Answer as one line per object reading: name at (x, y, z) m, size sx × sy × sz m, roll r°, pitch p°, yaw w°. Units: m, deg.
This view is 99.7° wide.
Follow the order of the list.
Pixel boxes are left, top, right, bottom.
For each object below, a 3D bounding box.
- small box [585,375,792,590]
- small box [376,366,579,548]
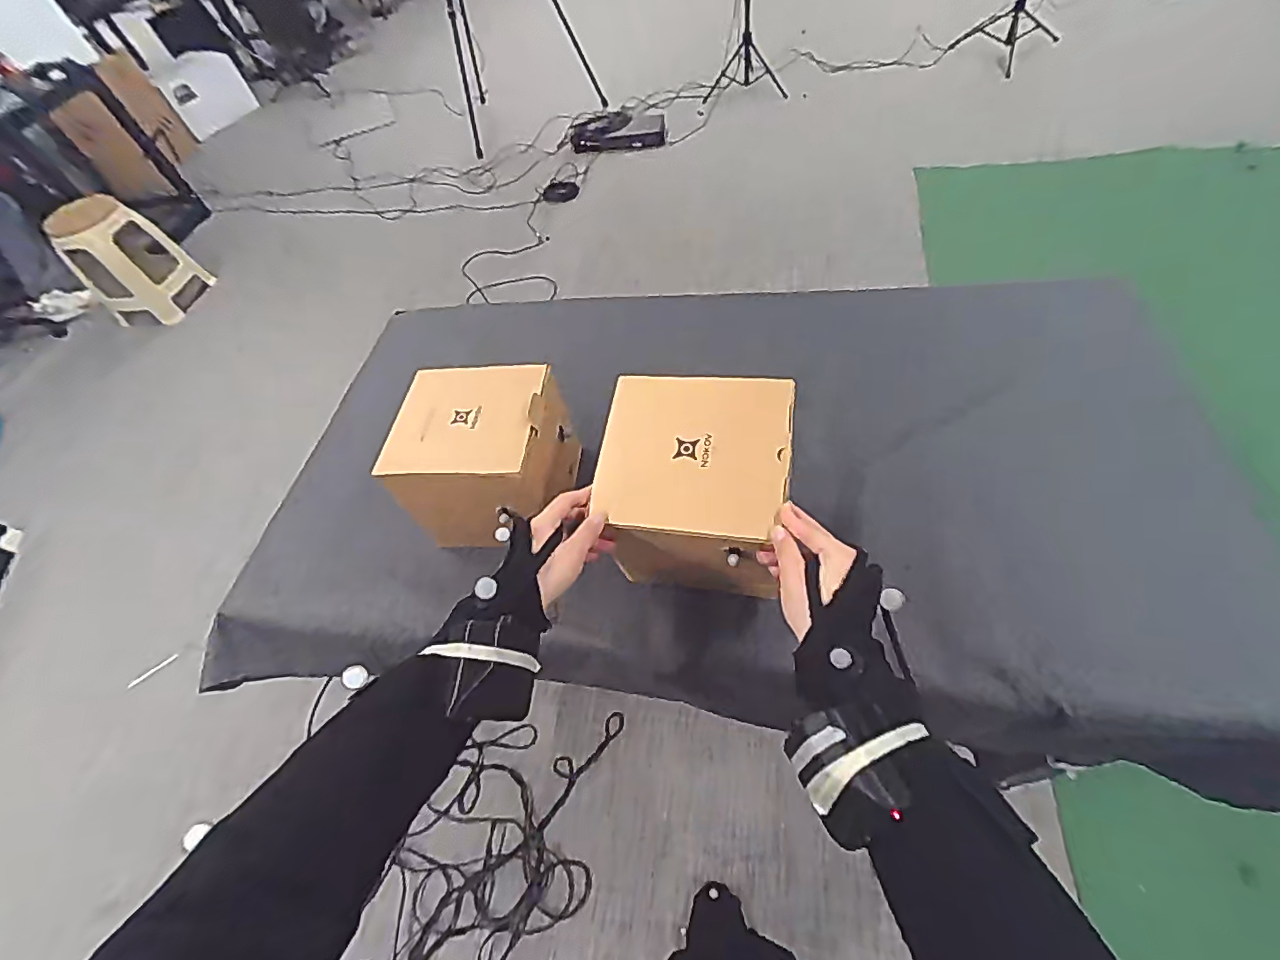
small box at (0.063, 0.008, 0.570) m, size 0.179 × 0.176 × 0.168 m, roll 4°, pitch 63°, yaw 15°
small box at (-0.187, -0.023, 0.688) m, size 0.179 × 0.176 × 0.168 m, roll -2°, pitch 54°, yaw 11°
